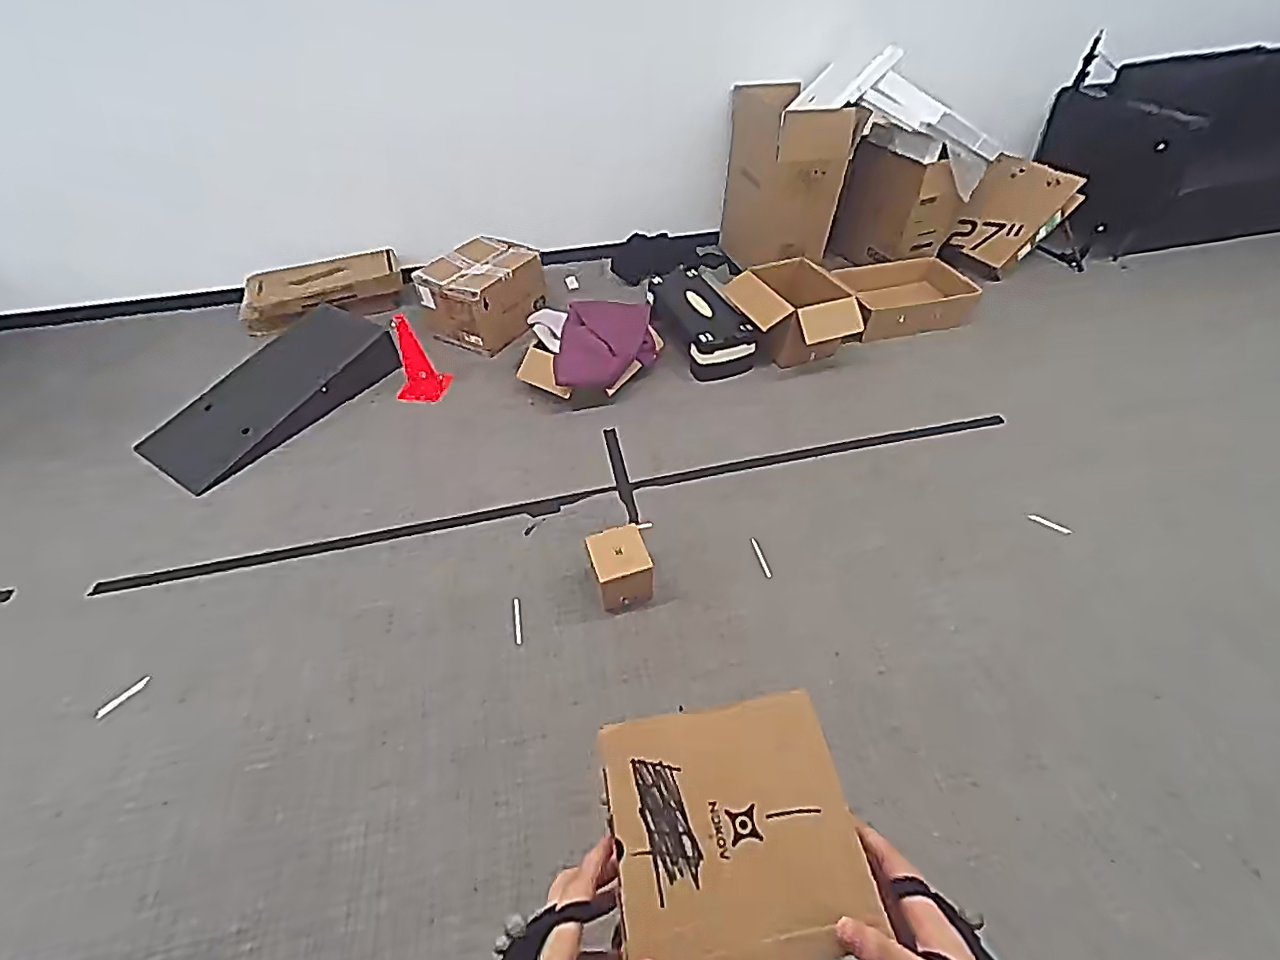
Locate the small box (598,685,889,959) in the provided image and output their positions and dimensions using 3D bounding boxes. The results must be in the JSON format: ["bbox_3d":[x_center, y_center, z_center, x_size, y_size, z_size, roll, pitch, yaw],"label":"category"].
[{"bbox_3d":[0.067,0.292,0.451,0.179,0.176,0.168,-8,53,-5],"label":"small box"}]

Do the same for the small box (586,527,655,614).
[{"bbox_3d":[-0.061,0.278,1.662,0.168,0.176,0.179,-16,49,-12],"label":"small box"}]
